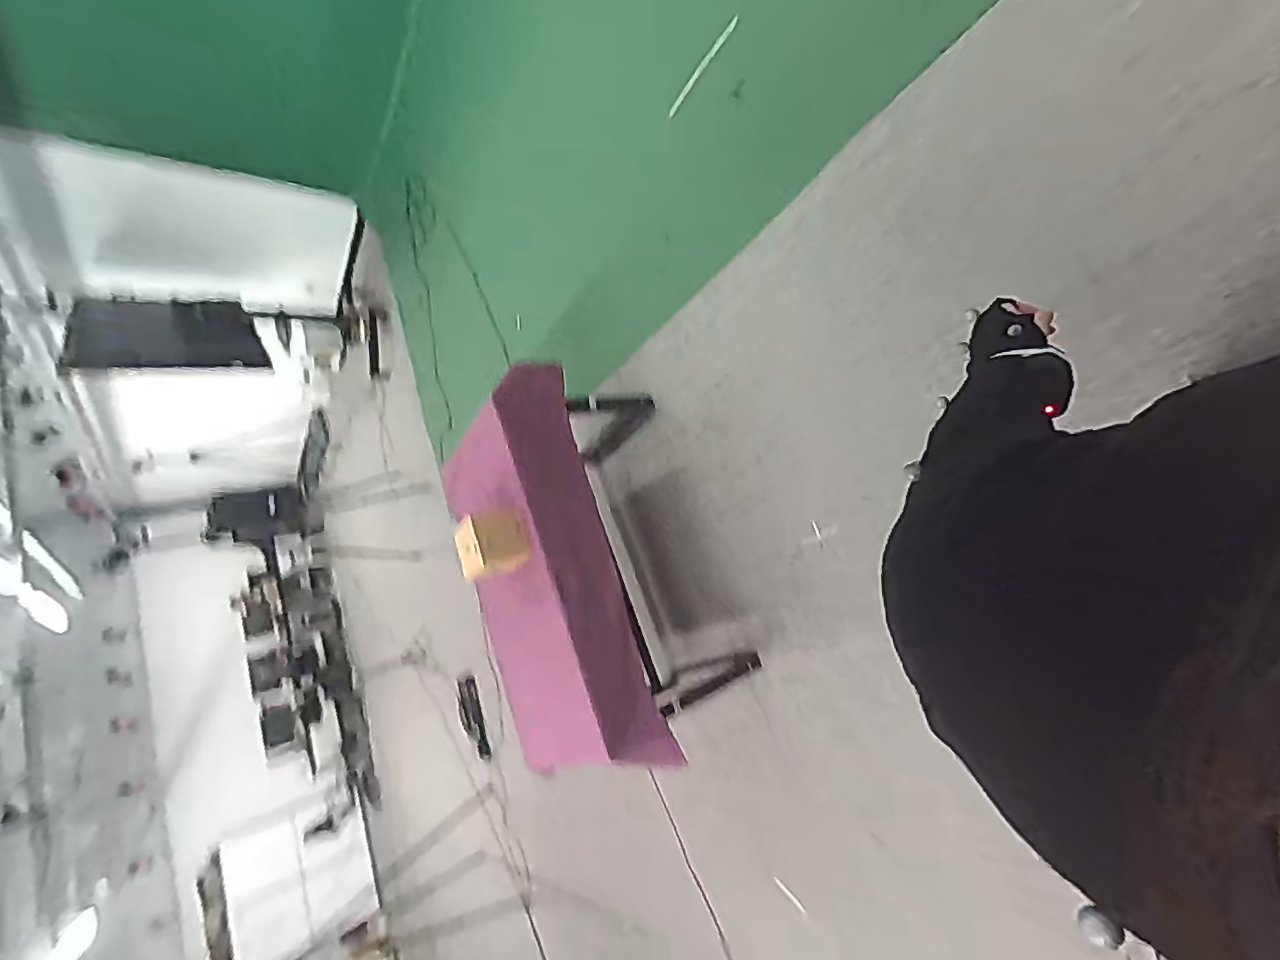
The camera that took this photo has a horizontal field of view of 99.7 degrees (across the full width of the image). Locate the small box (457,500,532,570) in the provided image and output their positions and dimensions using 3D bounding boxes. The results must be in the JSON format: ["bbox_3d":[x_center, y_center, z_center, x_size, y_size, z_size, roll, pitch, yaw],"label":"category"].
[{"bbox_3d":[-0.476,0.180,1.770,0.179,0.176,0.168,-37,70,48],"label":"small box"}]
